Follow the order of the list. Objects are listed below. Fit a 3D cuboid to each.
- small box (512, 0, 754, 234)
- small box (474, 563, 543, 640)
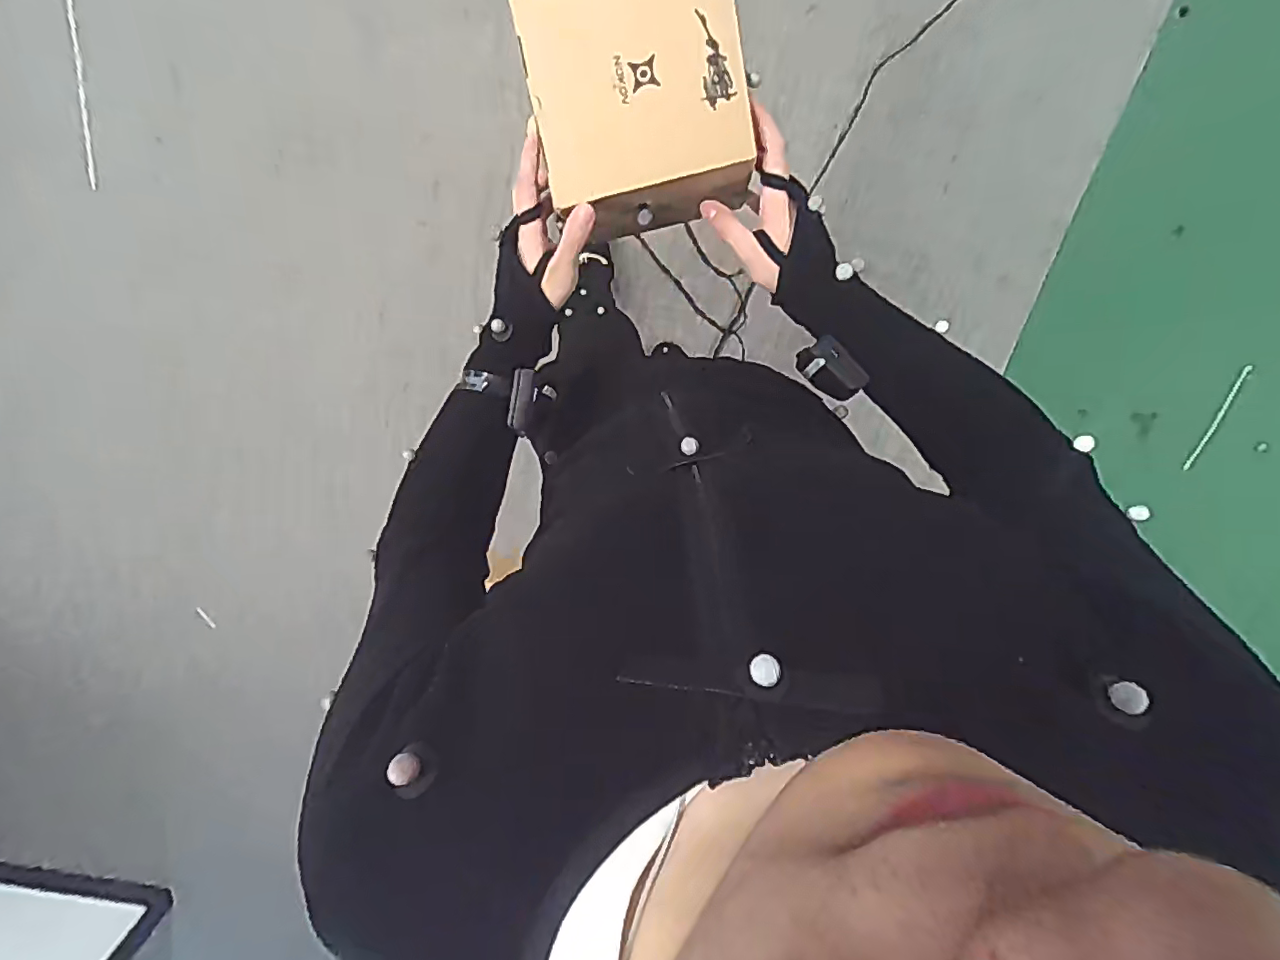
[{"bbox_3d":[0.006,-0.347,0.508,0.179,0.176,0.168,-9,103,10],"label":"small box"},{"bbox_3d":[-0.411,0.384,1.711,0.168,0.176,0.179,12,109,-3],"label":"small box"}]
